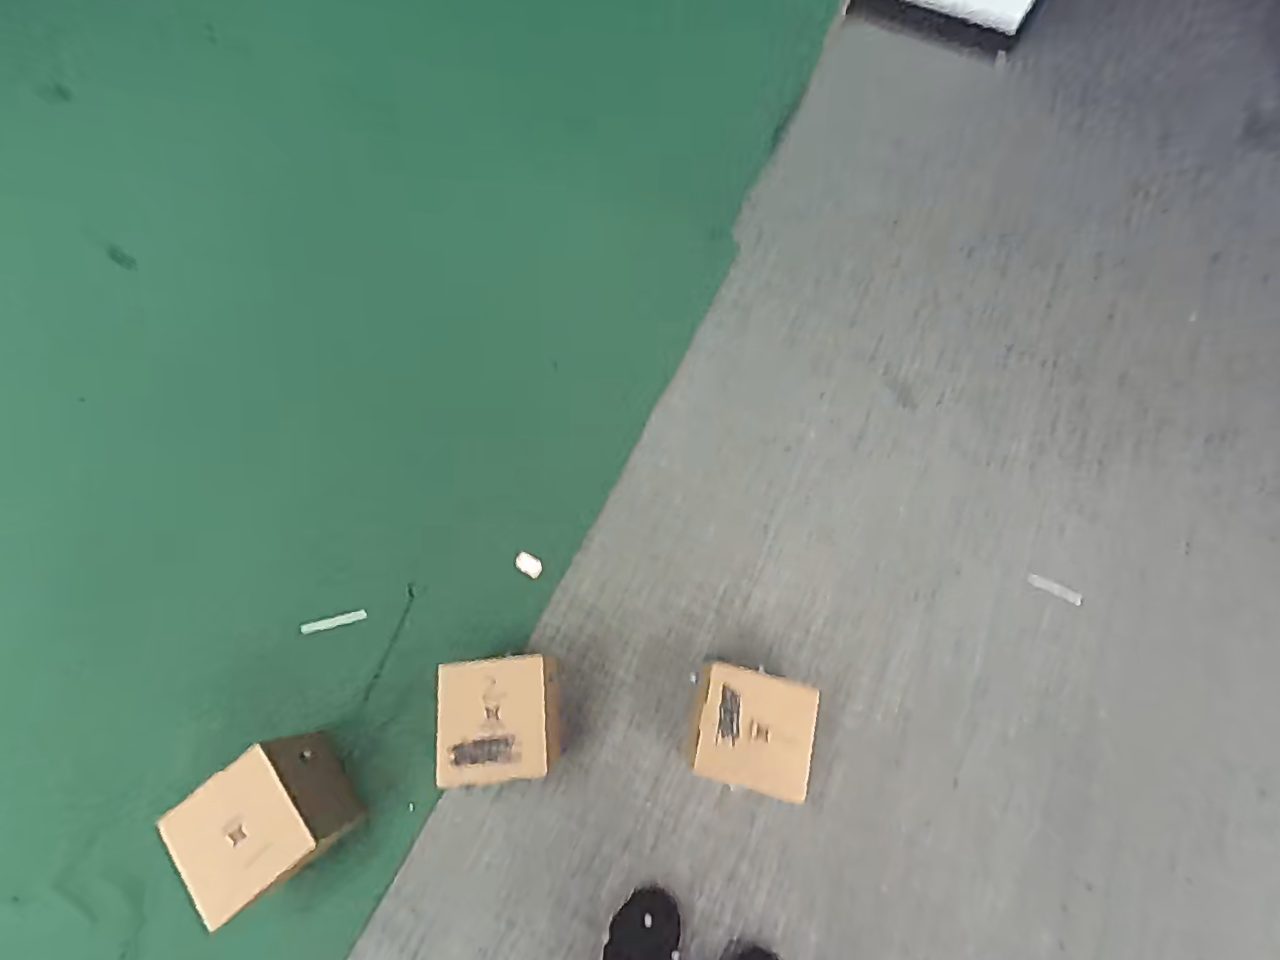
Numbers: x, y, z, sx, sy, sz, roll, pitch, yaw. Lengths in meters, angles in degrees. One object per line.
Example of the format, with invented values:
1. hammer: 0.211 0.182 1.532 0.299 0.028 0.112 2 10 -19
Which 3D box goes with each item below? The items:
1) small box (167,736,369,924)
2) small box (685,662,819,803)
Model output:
1. small box: -0.577 0.534 0.860 0.168 0.176 0.179 -38 76 -12
2. small box: 0.180 0.415 0.912 0.179 0.176 0.168 14 72 3
